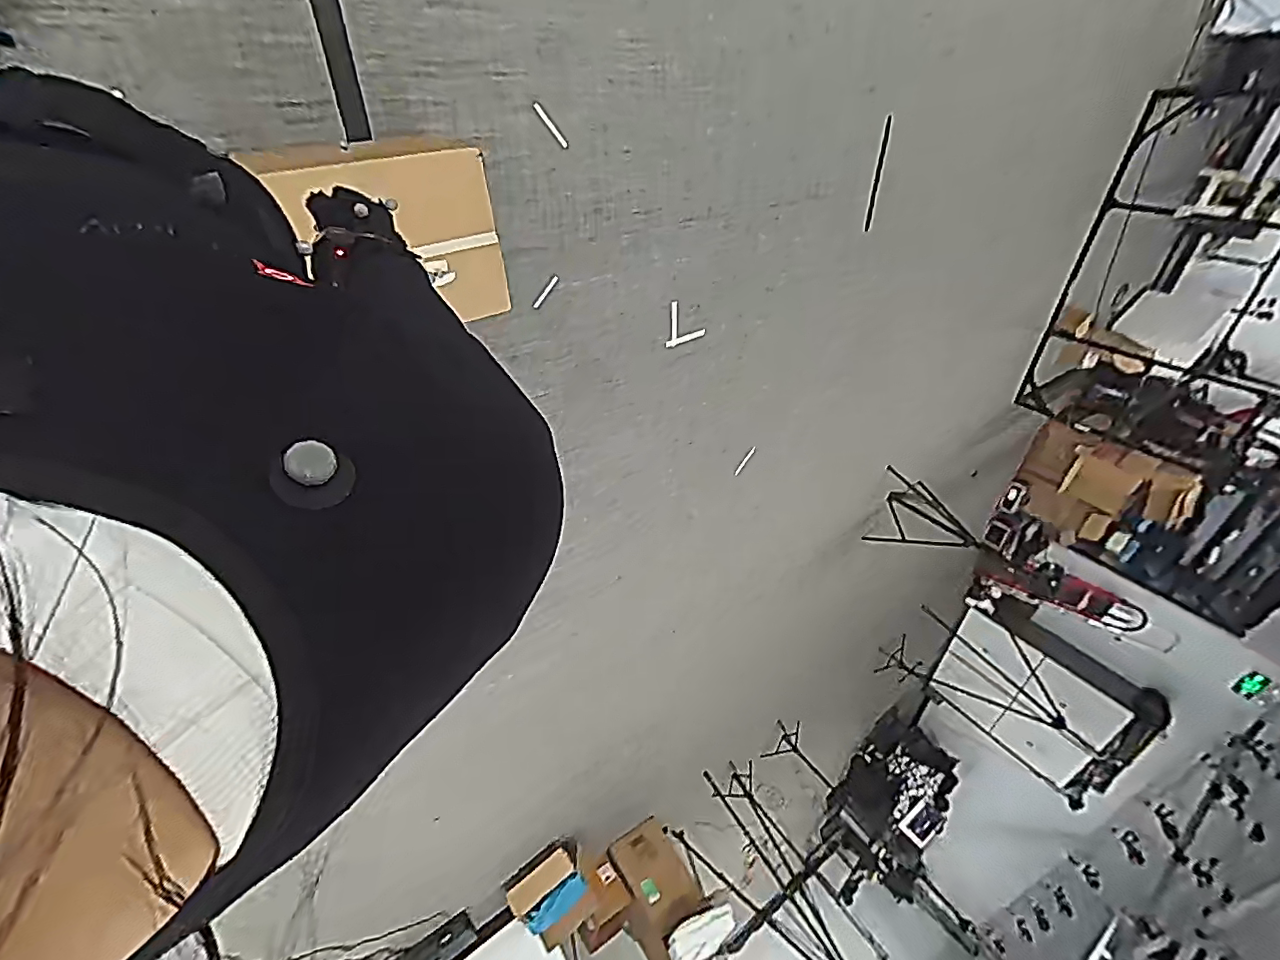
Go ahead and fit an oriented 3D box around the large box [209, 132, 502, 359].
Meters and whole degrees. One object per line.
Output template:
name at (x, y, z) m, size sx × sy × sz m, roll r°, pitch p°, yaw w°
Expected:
large box at (-0.554, -0.492, 1.091) m, size 0.408 × 0.320 × 0.320 m, roll -26°, pitch 135°, yaw -26°
